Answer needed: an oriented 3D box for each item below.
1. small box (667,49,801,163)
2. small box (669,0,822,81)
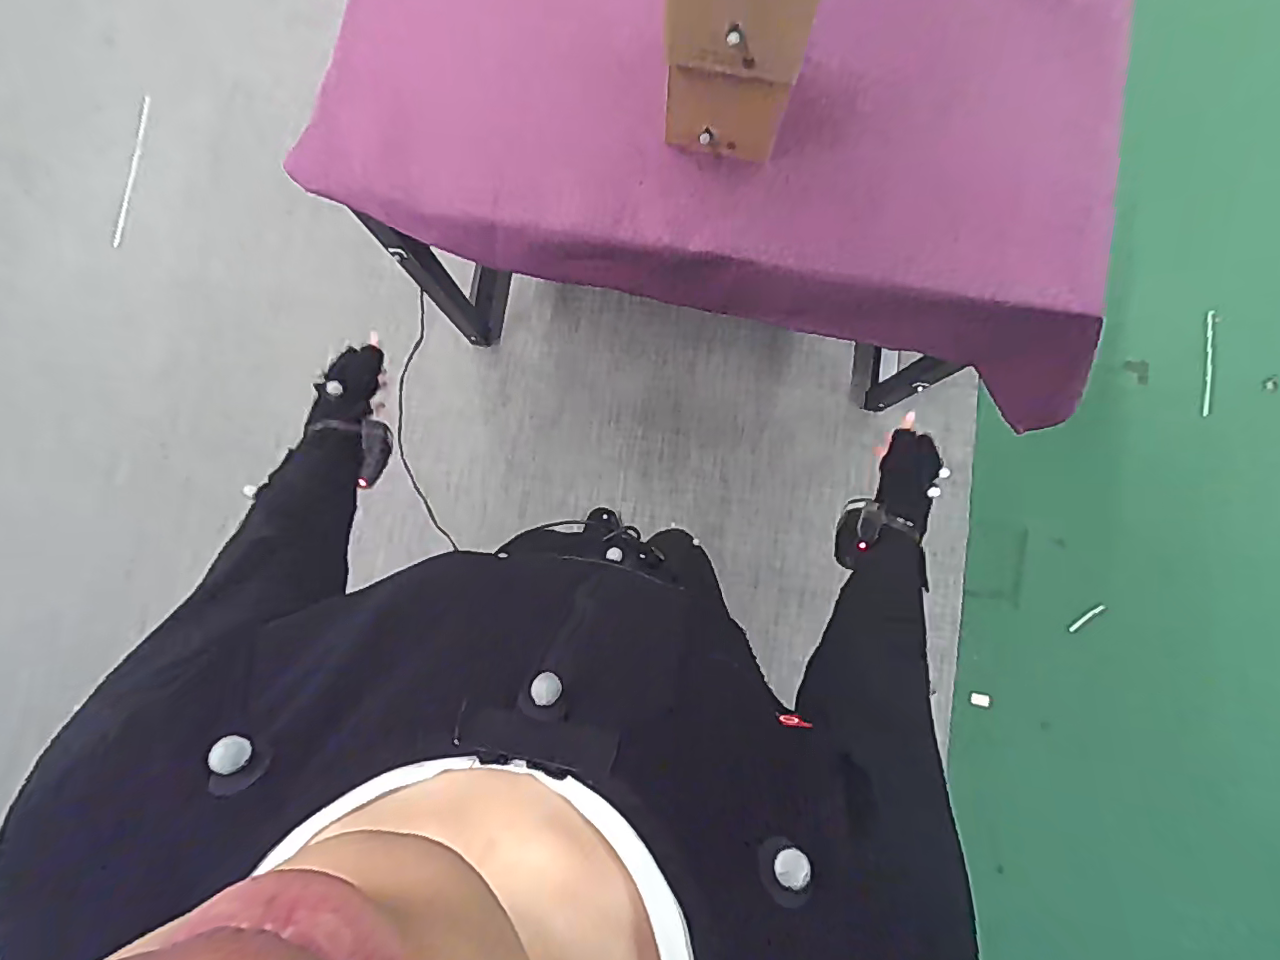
[{"bbox_3d":[0.135,-0.592,0.756,0.168,0.176,0.179,13,85,2],"label":"small box"},{"bbox_3d":[0.127,-0.594,0.592,0.168,0.176,0.179,11,84,2],"label":"small box"}]
